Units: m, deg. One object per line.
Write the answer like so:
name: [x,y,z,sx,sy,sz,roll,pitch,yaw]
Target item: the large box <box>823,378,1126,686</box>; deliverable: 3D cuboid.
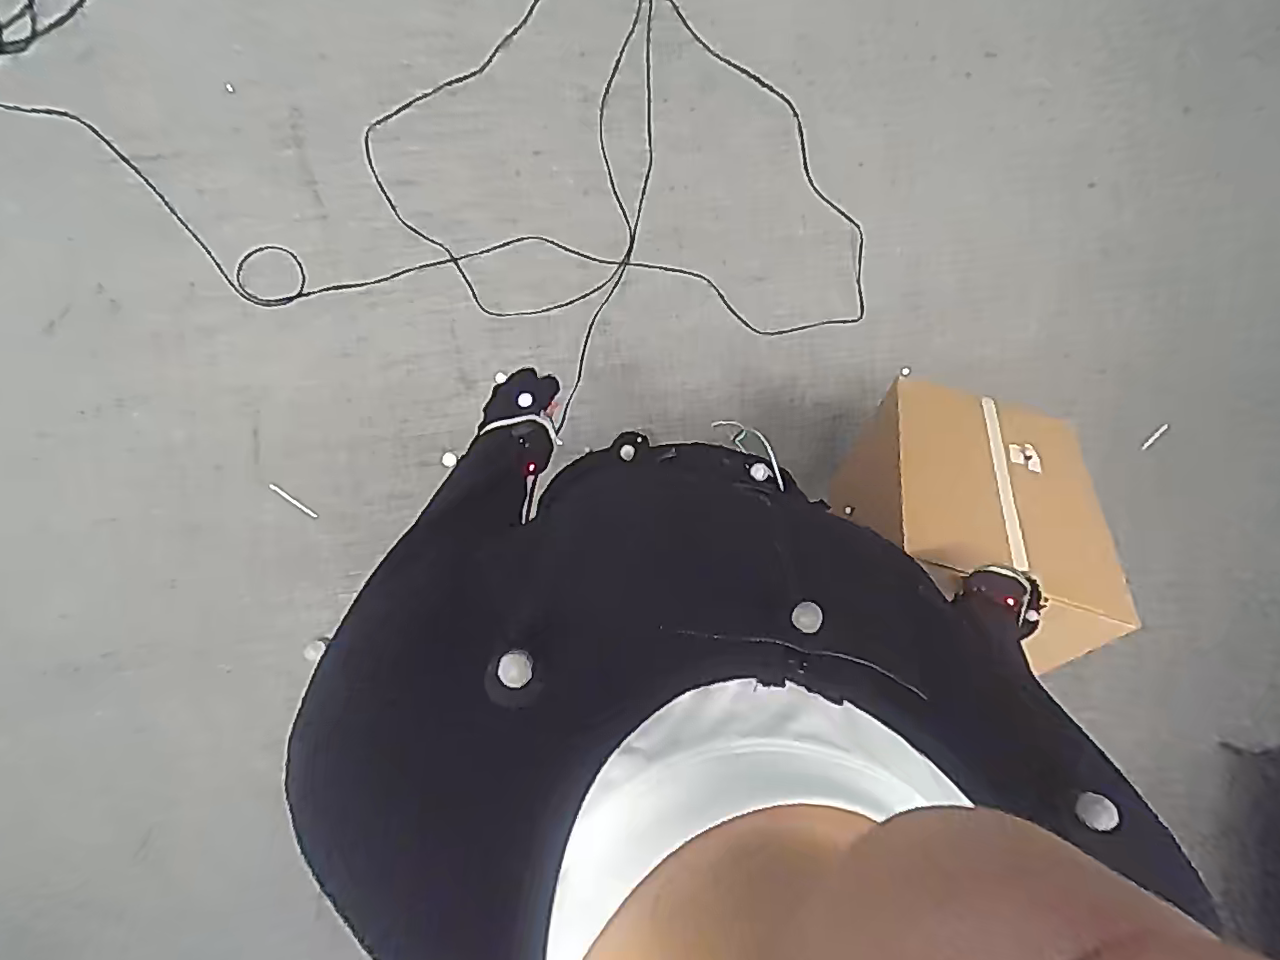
large box: [0.535,0.090,0.968,0.320,0.320,0.408,17,50,4]
